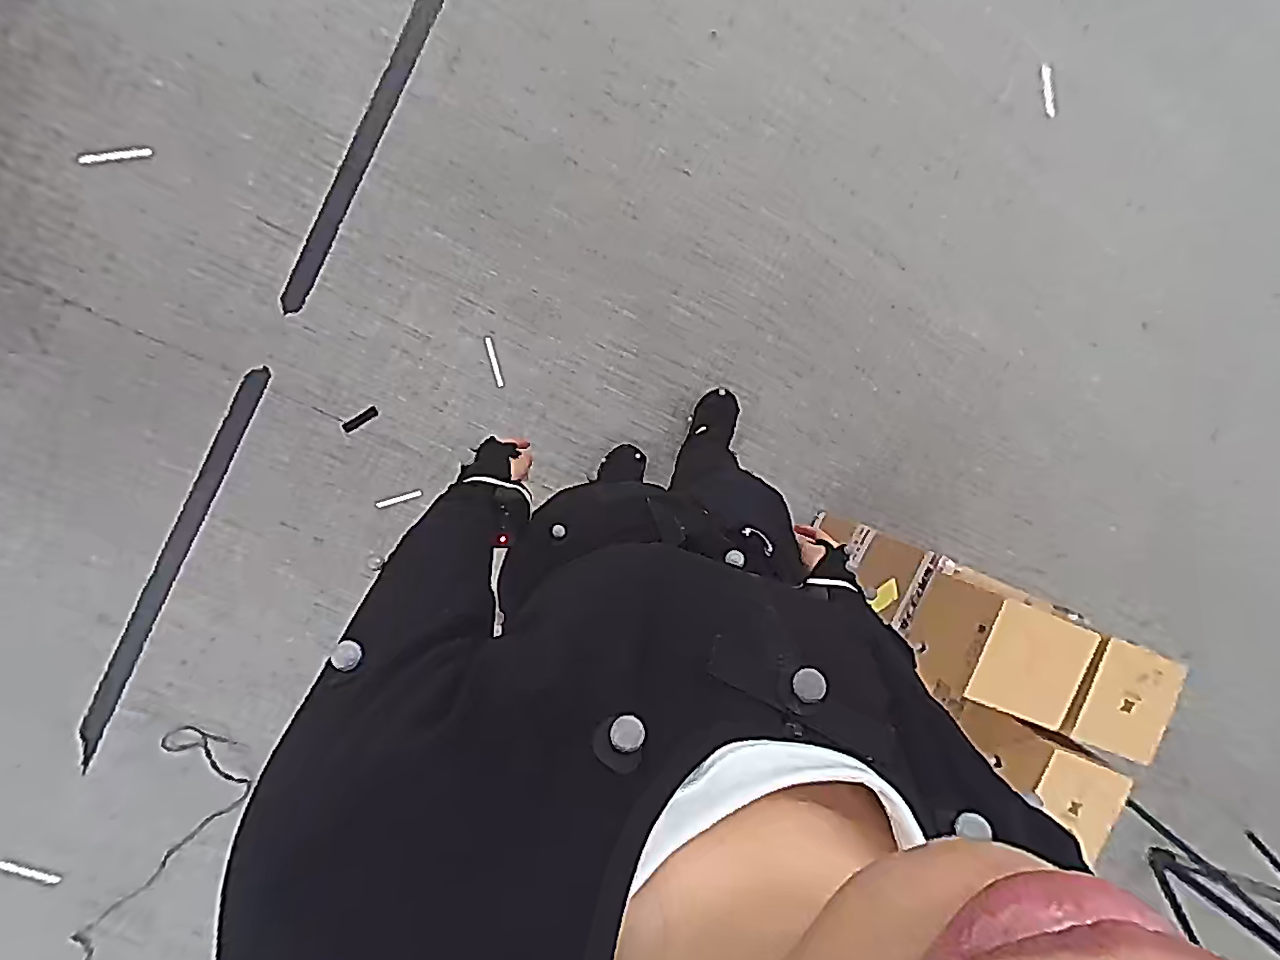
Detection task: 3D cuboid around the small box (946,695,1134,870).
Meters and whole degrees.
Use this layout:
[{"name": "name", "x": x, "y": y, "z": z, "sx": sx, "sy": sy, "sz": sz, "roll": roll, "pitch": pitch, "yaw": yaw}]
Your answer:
[{"name": "small box", "x": 0.677, "y": 0.515, "z": 0.940, "sx": 0.168, "sy": 0.176, "sz": 0.179, "roll": 24, "pitch": 94, "yaw": -9}]
